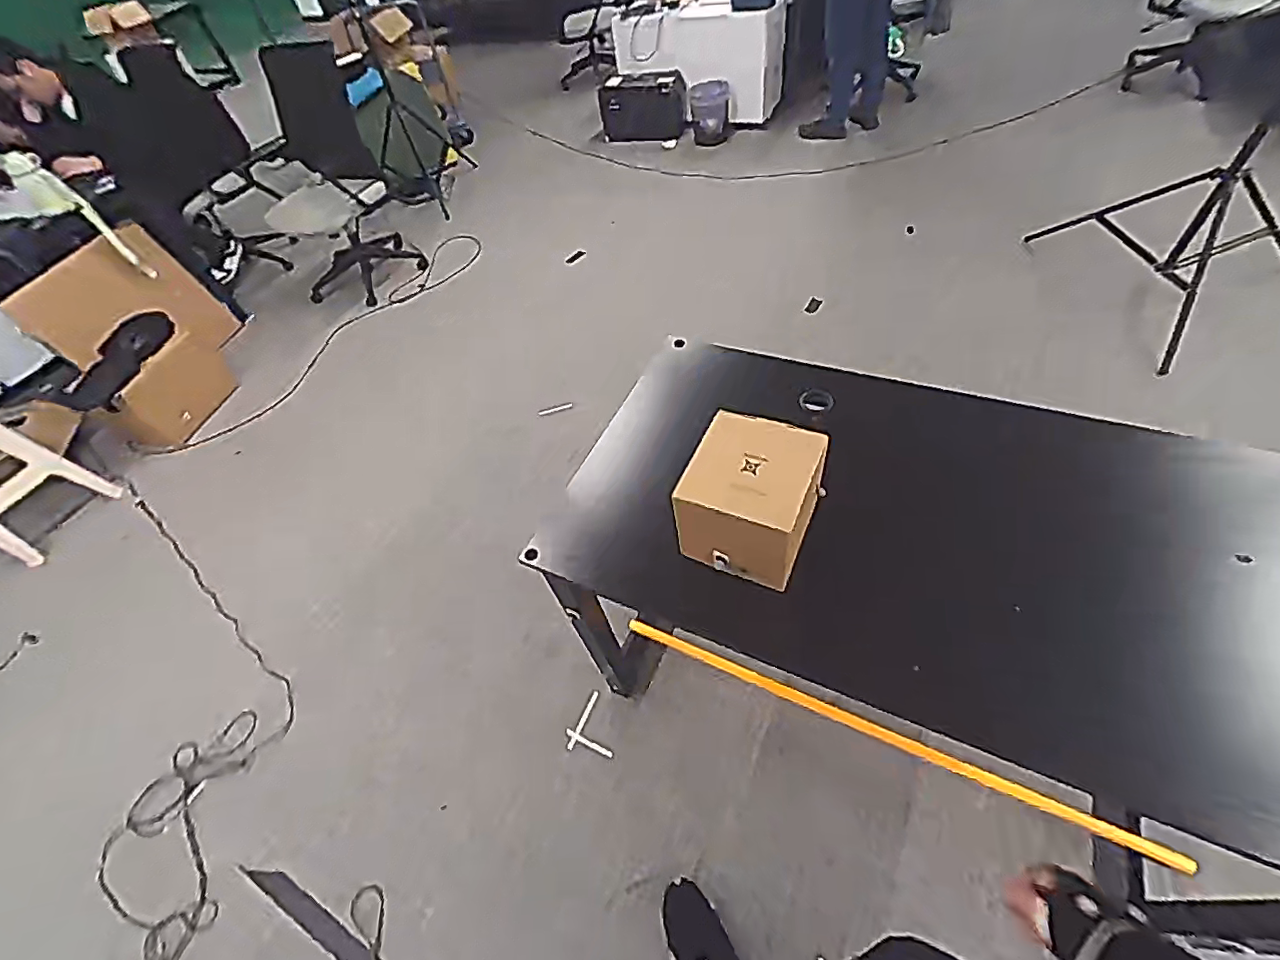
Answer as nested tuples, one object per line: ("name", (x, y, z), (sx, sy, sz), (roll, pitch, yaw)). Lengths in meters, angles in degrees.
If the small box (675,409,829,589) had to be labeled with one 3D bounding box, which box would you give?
("small box", (0.164, 0.029, 0.796), (0.168, 0.176, 0.179), (16, 58, 22))
